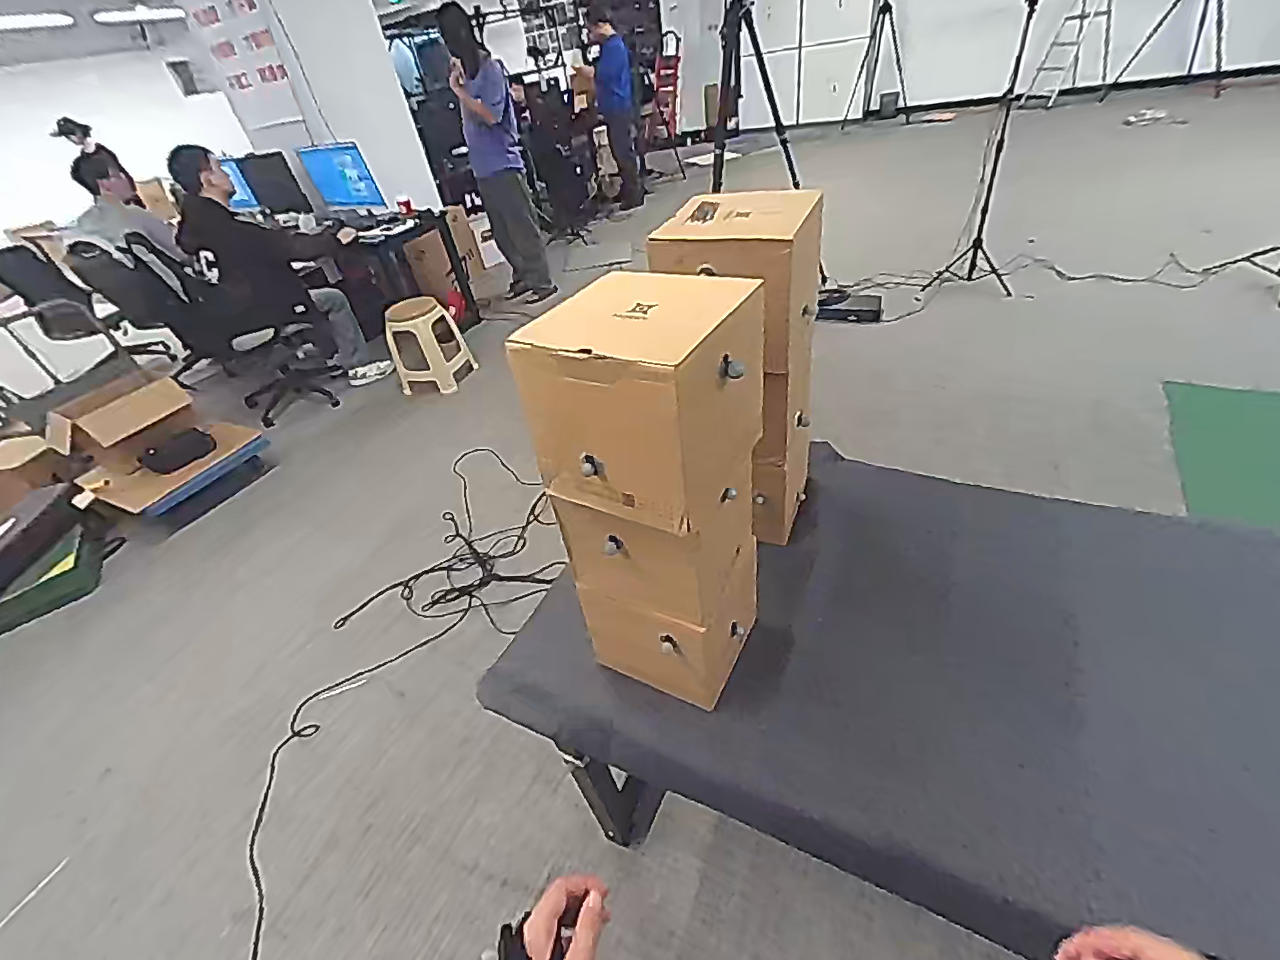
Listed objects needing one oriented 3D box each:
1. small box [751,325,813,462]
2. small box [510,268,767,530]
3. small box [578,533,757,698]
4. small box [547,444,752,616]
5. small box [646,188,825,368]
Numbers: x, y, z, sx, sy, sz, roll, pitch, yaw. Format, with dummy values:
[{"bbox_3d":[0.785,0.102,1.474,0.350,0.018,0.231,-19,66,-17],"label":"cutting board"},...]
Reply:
[{"bbox_3d":[0.155,-0.145,0.817,0.179,0.176,0.168,10,46,22],"label":"small box"},{"bbox_3d":[0.010,-0.084,0.514,0.168,0.176,0.179,15,45,27],"label":"small box"},{"bbox_3d":[0.046,0.161,0.727,0.179,0.176,0.168,14,43,27],"label":"small box"},{"bbox_3d":[0.023,0.031,0.630,0.179,0.176,0.168,11,42,25],"label":"small box"},{"bbox_3d":[0.129,-0.262,0.703,0.179,0.176,0.168,12,47,24],"label":"small box"}]
